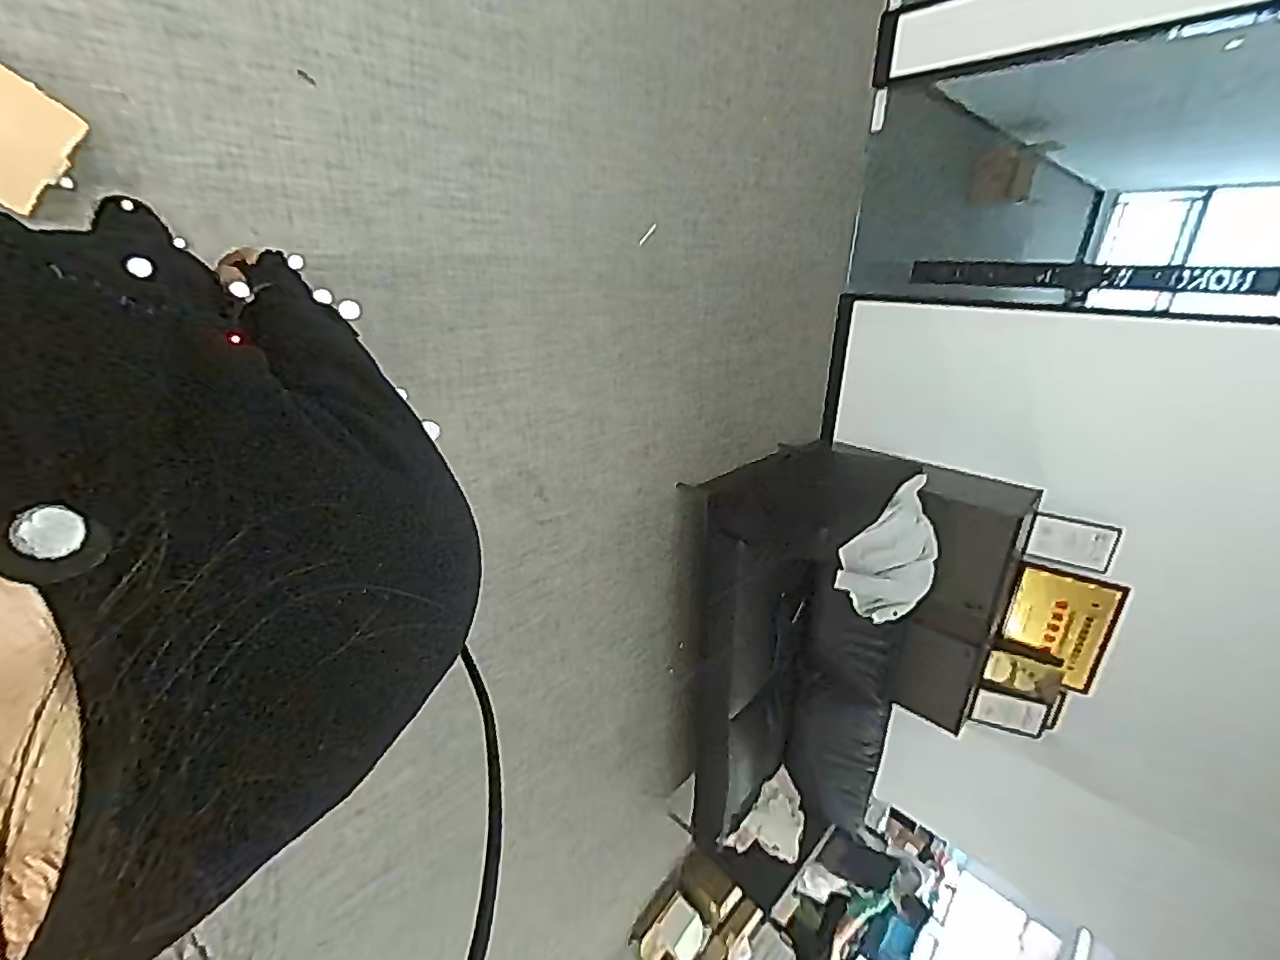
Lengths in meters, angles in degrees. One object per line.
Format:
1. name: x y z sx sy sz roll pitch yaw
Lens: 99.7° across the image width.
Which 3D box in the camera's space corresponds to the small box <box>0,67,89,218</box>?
1. small box: -0.946 -0.502 0.767 0.179 0.176 0.168 36 78 -50
